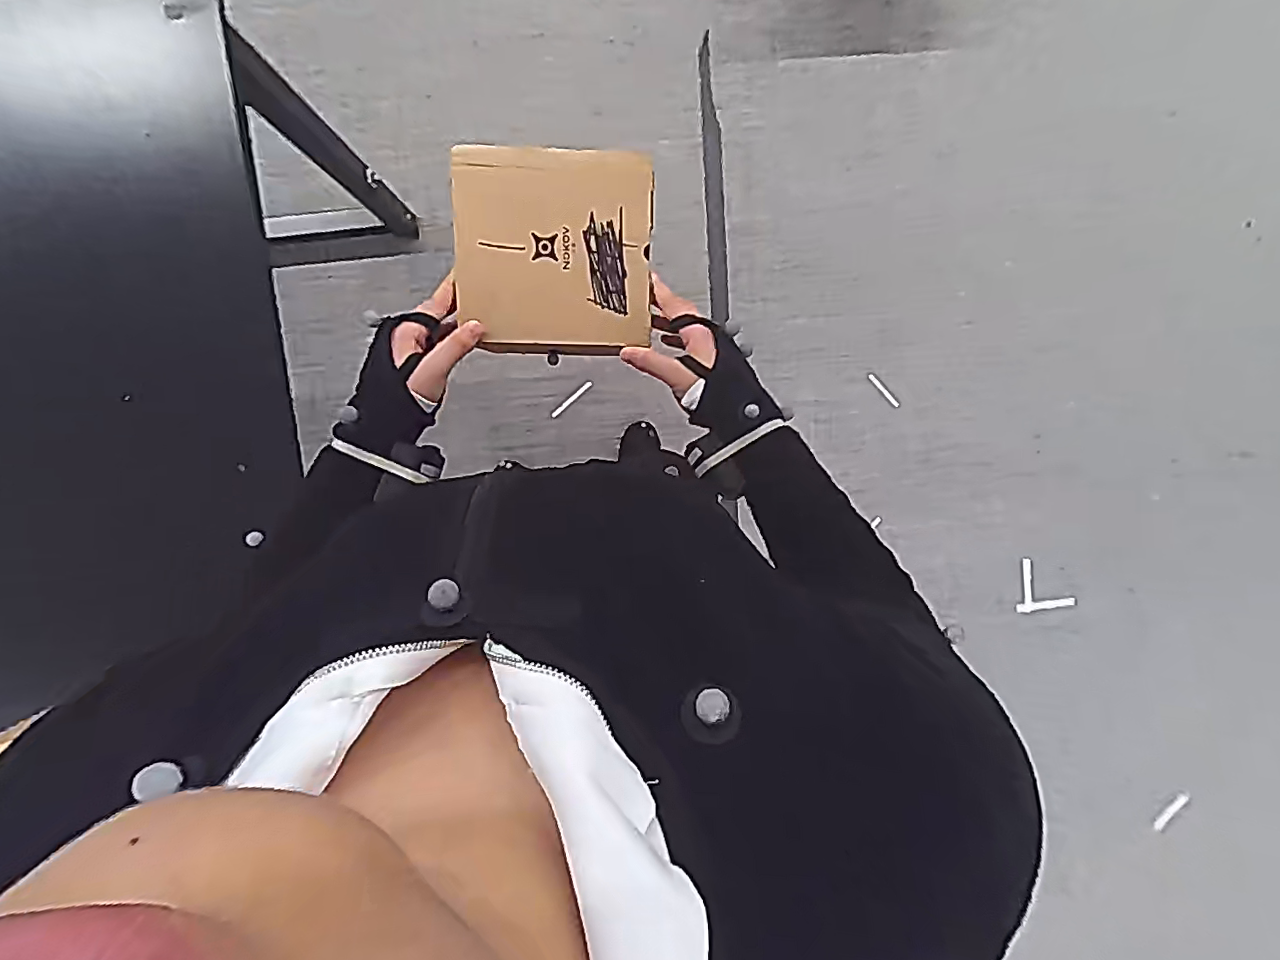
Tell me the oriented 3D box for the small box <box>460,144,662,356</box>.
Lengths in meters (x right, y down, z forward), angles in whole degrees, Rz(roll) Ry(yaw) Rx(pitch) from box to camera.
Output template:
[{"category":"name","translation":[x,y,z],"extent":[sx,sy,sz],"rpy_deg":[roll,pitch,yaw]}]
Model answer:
[{"category":"small box","translation":[-0.075,-0.218,0.558],"extent":[0.179,0.176,0.168],"rpy_deg":[1,100,-3]}]
